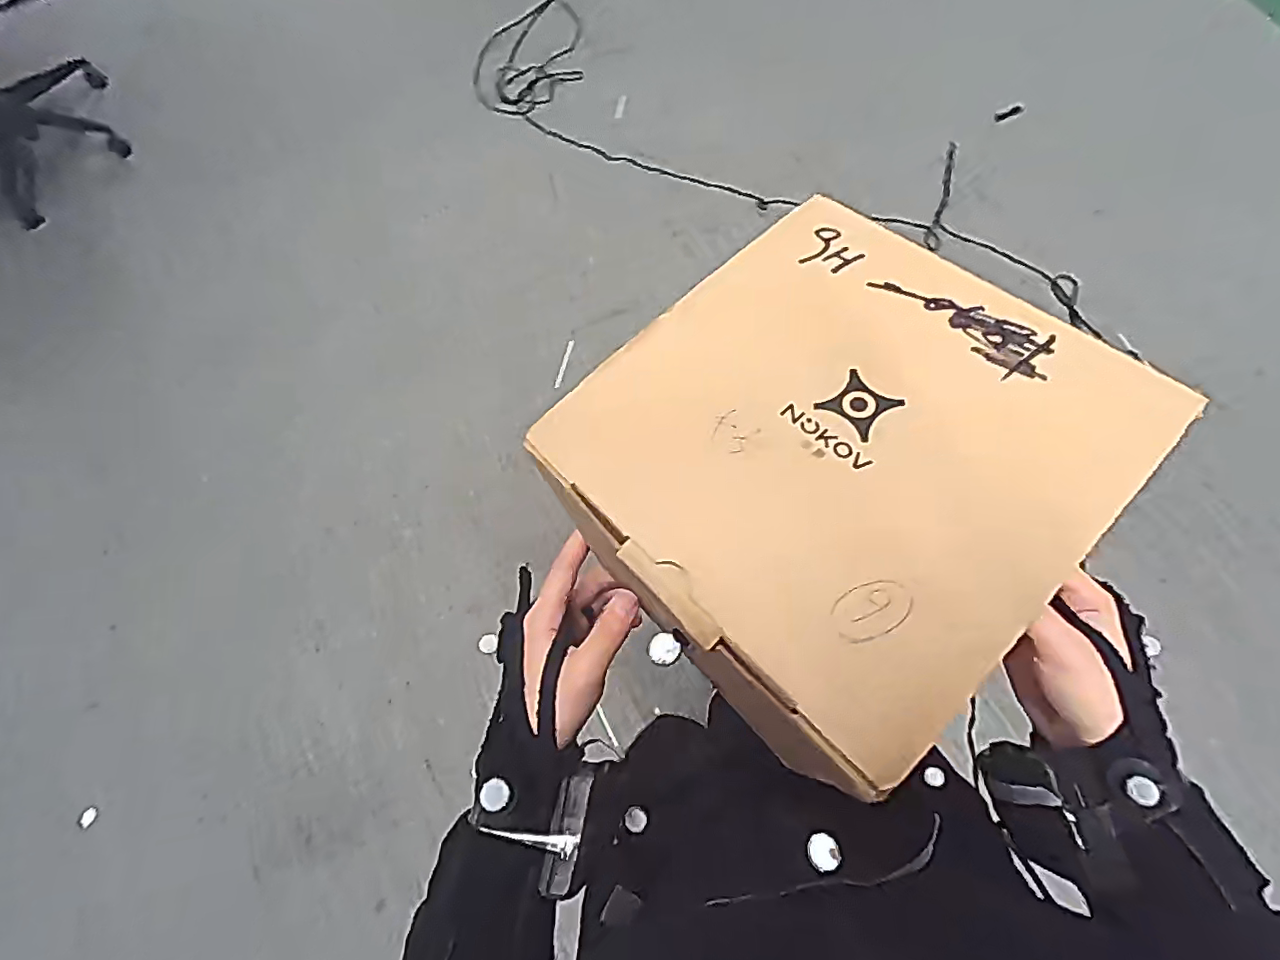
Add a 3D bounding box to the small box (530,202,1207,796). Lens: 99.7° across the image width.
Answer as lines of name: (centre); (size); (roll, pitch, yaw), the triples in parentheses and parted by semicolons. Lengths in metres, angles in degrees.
small box: (0.083, 0.016, 0.265); (0.179, 0.176, 0.168); (-41, 66, -11)
